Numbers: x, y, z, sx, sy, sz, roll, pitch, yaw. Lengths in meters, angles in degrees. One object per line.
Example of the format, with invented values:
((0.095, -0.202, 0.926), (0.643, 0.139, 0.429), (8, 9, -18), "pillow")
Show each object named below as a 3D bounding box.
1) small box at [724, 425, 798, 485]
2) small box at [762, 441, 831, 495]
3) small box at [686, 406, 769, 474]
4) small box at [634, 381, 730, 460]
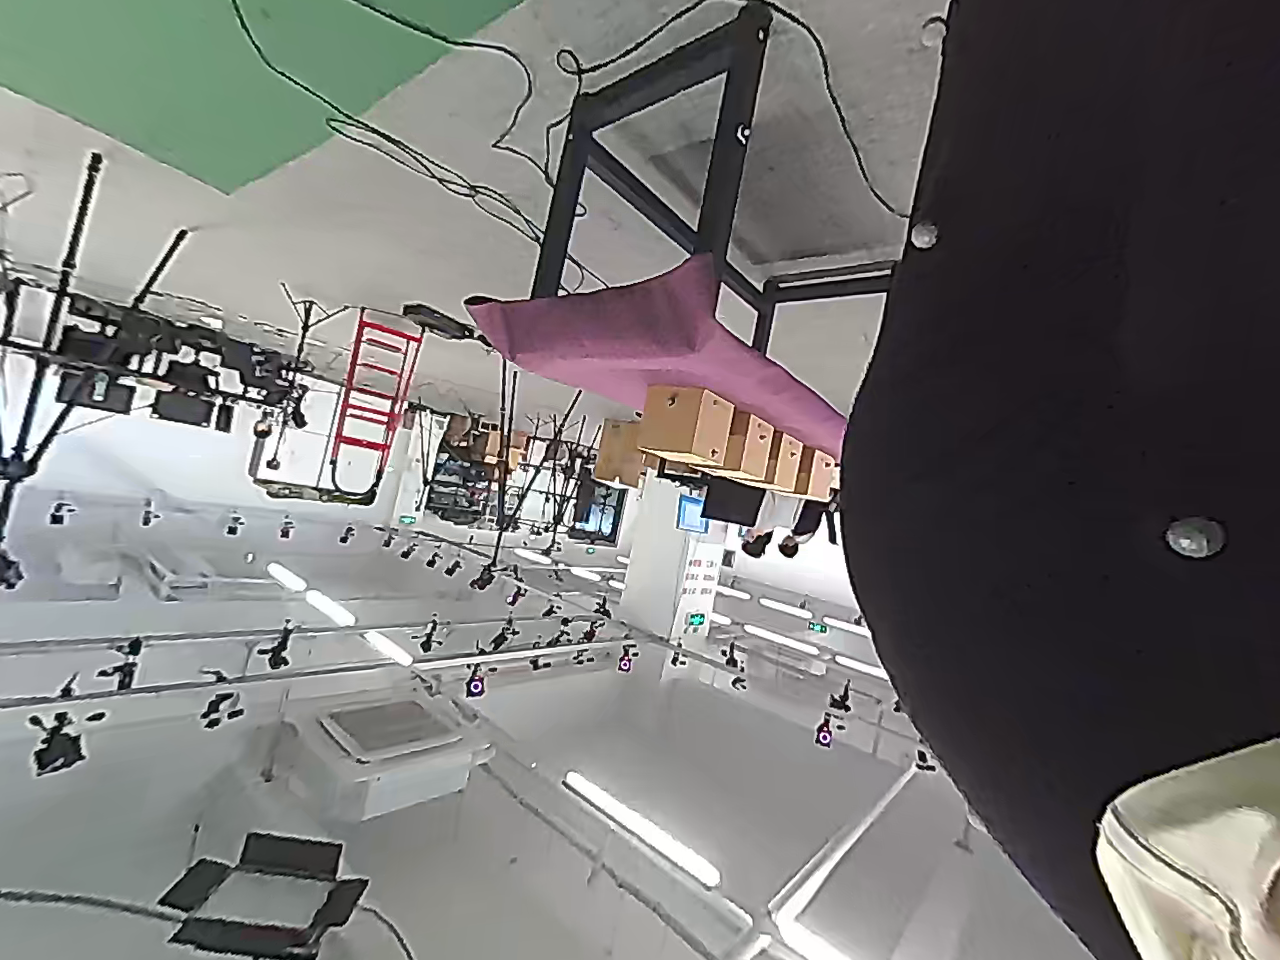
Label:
((0.403, -0.087, 1.790), (0.179, 0.176, 0.168), (9, 178, 38), "small box")
((0.571, -0.049, 1.970), (0.179, 0.176, 0.168), (9, 177, 44), "small box")
((0.263, -0.122, 1.603), (0.179, 0.176, 0.168), (9, 177, 37), "small box")
((0.113, -0.158, 1.413), (0.179, 0.176, 0.168), (10, 179, 37), "small box")
